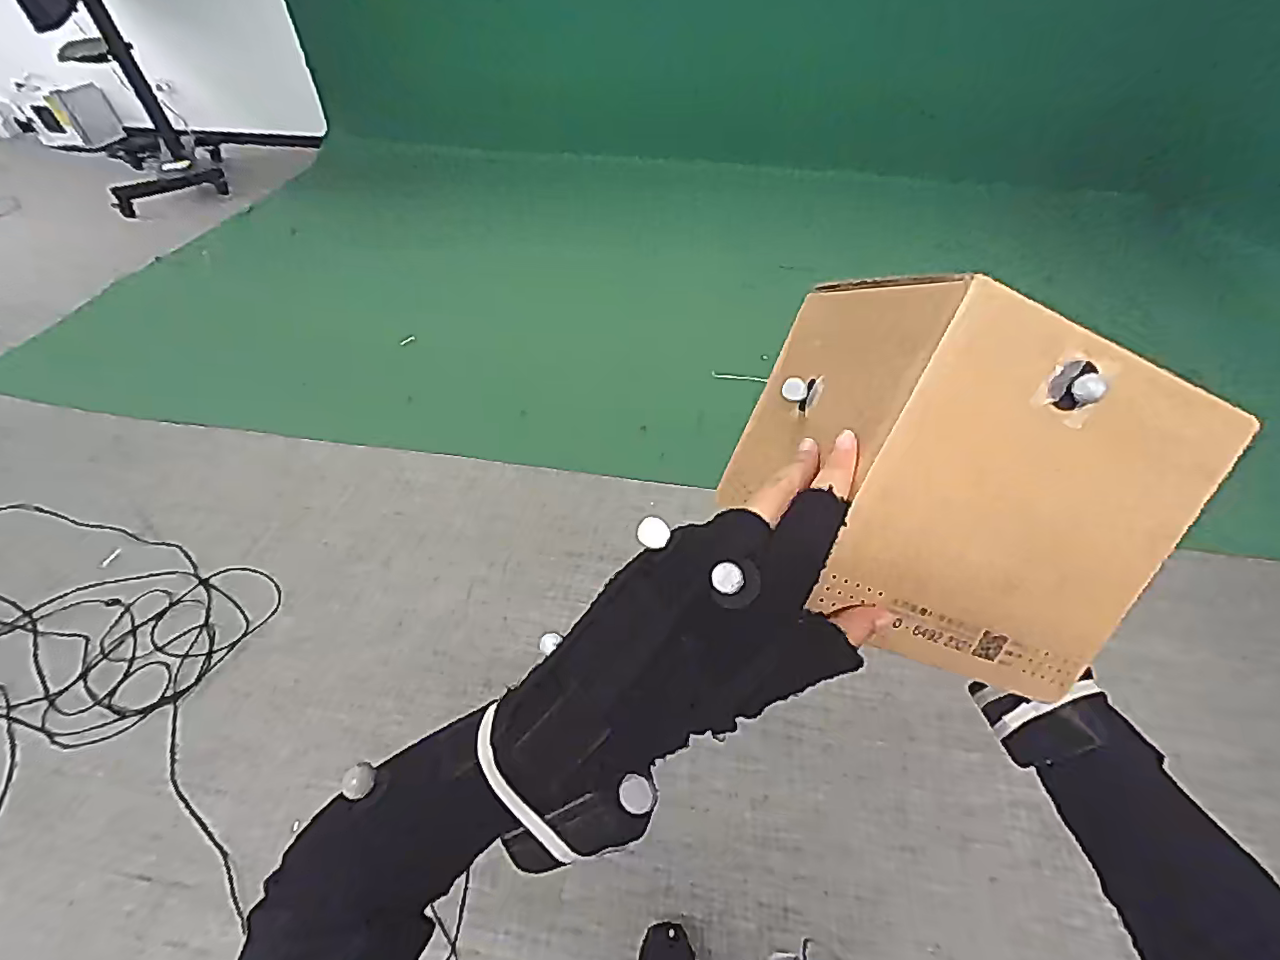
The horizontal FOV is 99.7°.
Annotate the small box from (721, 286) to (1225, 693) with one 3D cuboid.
[{"bbox_3d":[0.169,-0.004,0.344,0.168,0.176,0.179,20,15,-11],"label":"small box"}]
